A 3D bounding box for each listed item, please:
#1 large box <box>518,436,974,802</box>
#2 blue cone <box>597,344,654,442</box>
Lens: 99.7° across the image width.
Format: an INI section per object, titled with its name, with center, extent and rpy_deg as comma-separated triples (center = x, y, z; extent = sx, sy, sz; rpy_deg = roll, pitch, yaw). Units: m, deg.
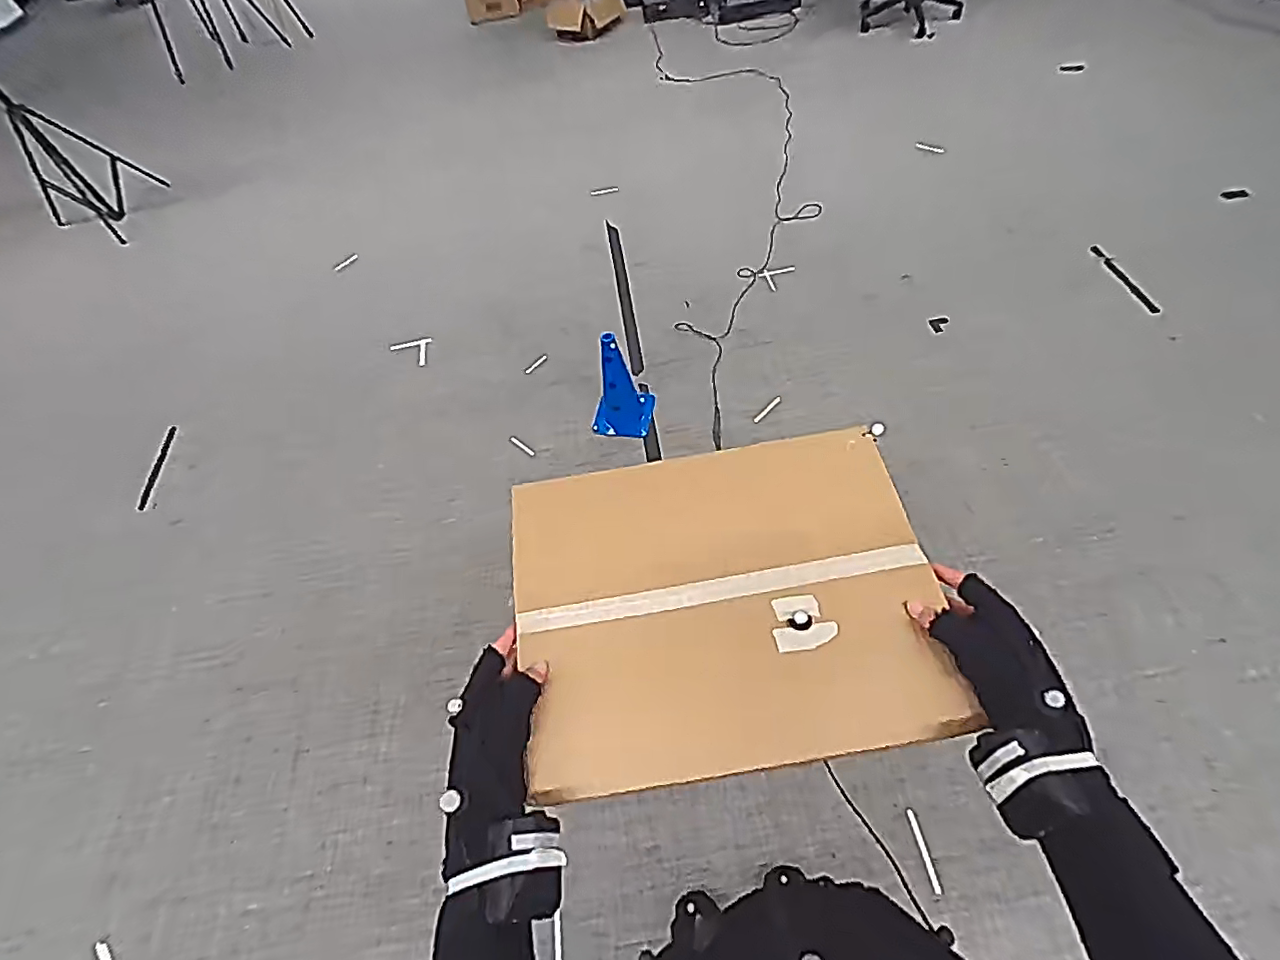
[large box]
center = 0.090, 0.188, 0.675
extent = 0.408, 0.320, 0.320
rpy_deg = -10, 61, 0
[blue cone]
center = -0.071, -0.307, 1.795
extent = 0.193, 0.380, 0.192
rpy_deg = 6, 58, 13
